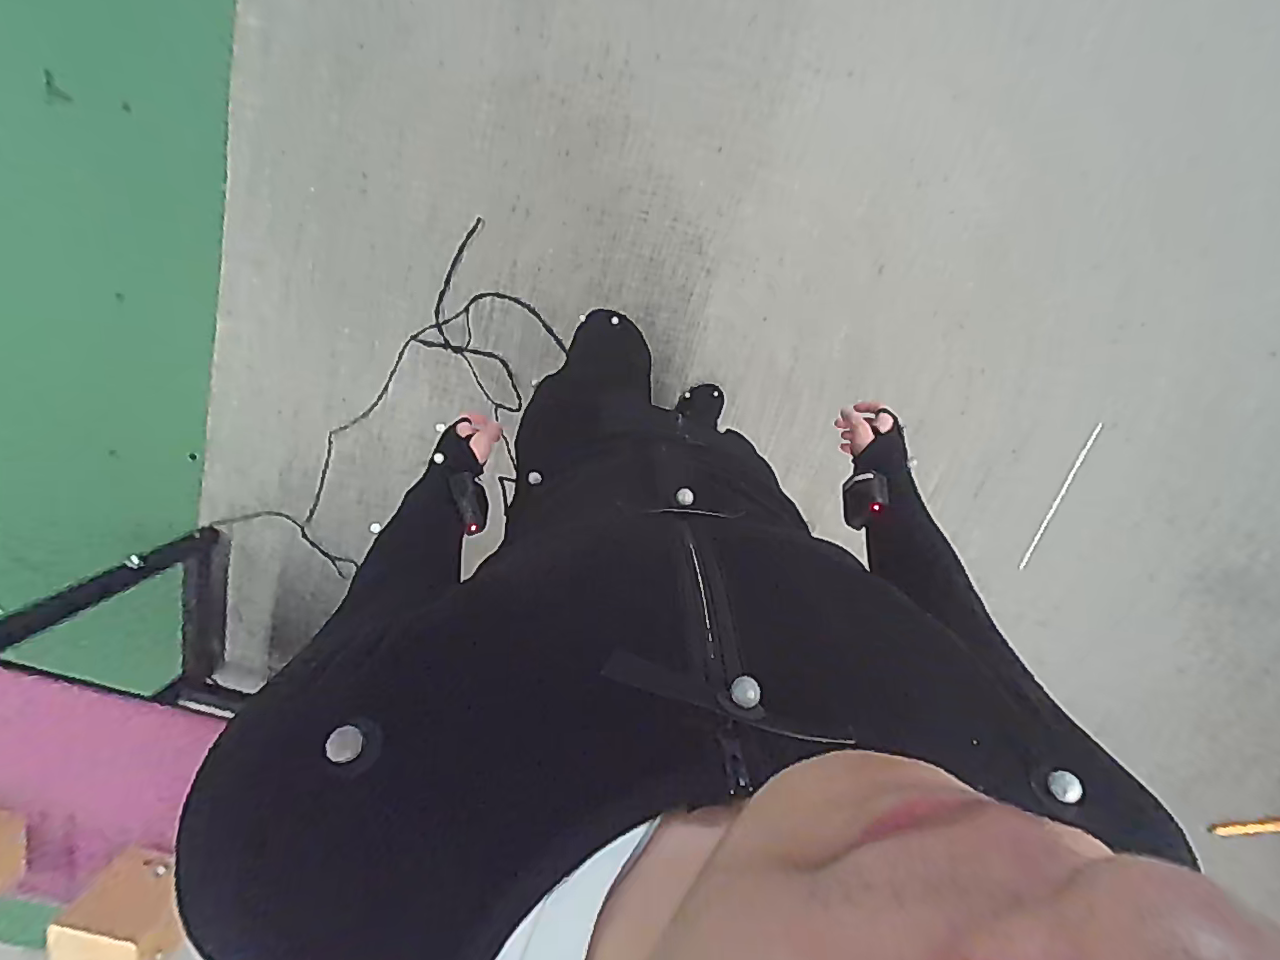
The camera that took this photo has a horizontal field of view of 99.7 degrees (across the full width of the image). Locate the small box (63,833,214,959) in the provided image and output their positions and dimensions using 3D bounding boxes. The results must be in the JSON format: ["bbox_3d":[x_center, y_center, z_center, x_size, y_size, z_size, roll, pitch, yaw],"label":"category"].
[{"bbox_3d":[-1.038,0.894,1.131,0.168,0.176,0.179,17,106,-3],"label":"small box"}]

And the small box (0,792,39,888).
[{"bbox_3d":[-1.410,0.776,1.116,0.168,0.176,0.179,18,107,-3],"label":"small box"}]
